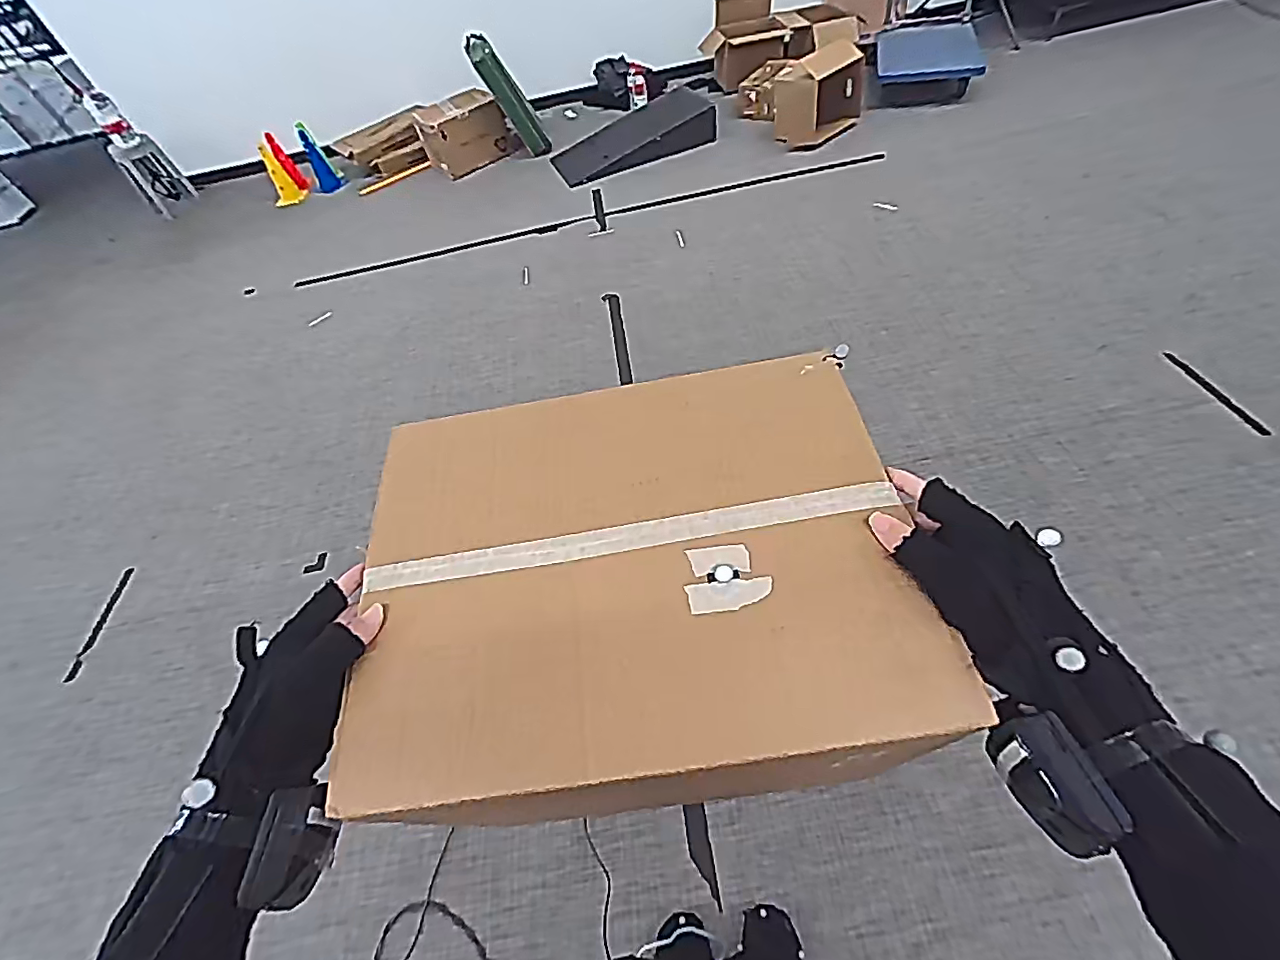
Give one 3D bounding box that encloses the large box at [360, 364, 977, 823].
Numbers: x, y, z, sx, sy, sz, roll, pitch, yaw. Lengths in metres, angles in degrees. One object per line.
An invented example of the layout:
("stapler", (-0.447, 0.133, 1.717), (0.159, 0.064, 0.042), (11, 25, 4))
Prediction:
("large box", (0.014, 0.132, 0.543), (0.408, 0.320, 0.320), (-9, 56, 2))
